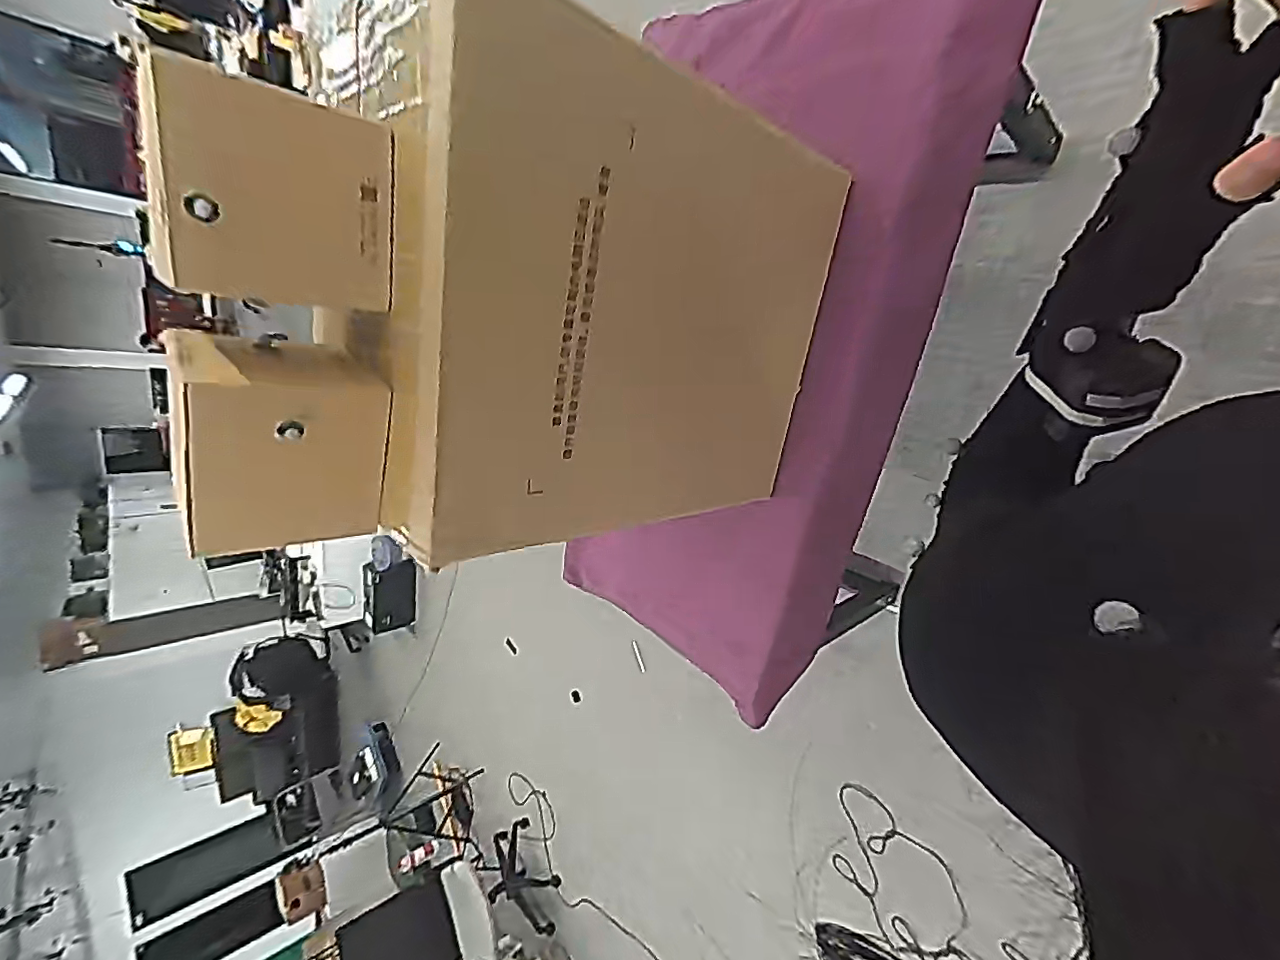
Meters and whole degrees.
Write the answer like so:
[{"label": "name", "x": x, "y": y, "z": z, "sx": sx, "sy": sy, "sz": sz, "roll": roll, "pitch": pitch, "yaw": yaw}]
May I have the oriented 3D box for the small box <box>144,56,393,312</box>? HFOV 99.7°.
[{"label": "small box", "x": -0.354, "y": -0.261, "z": 0.519, "sx": 0.179, "sy": 0.176, "sz": 0.168, "roll": 26, "pitch": 115, "yaw": 43}]
